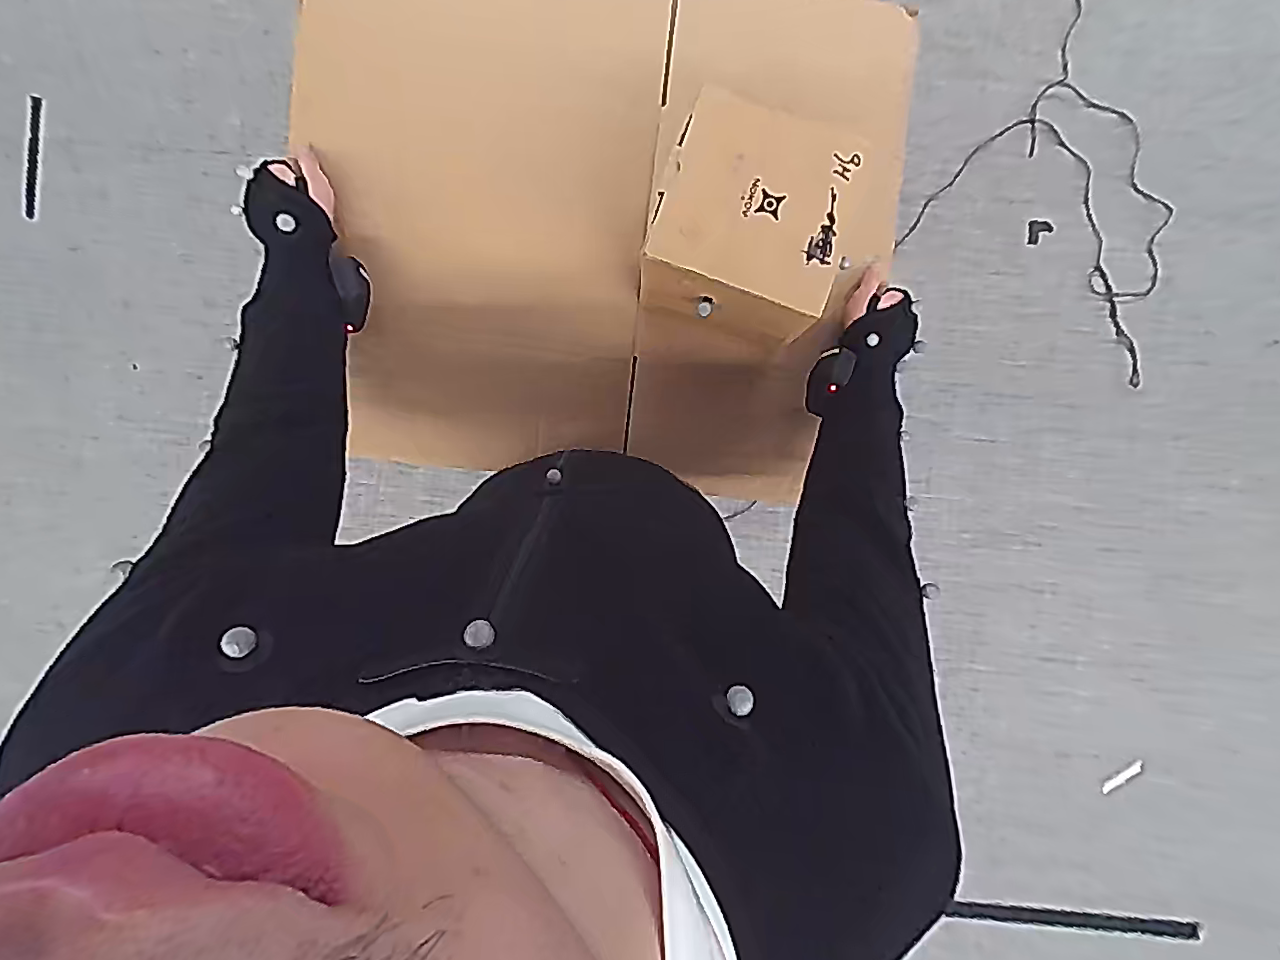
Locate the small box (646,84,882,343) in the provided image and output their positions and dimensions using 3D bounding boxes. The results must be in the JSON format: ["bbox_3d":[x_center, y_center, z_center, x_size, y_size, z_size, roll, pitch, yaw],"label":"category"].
[{"bbox_3d":[0.115,-0.261,0.576,0.179,0.176,0.168,20,92,1],"label":"small box"}]
